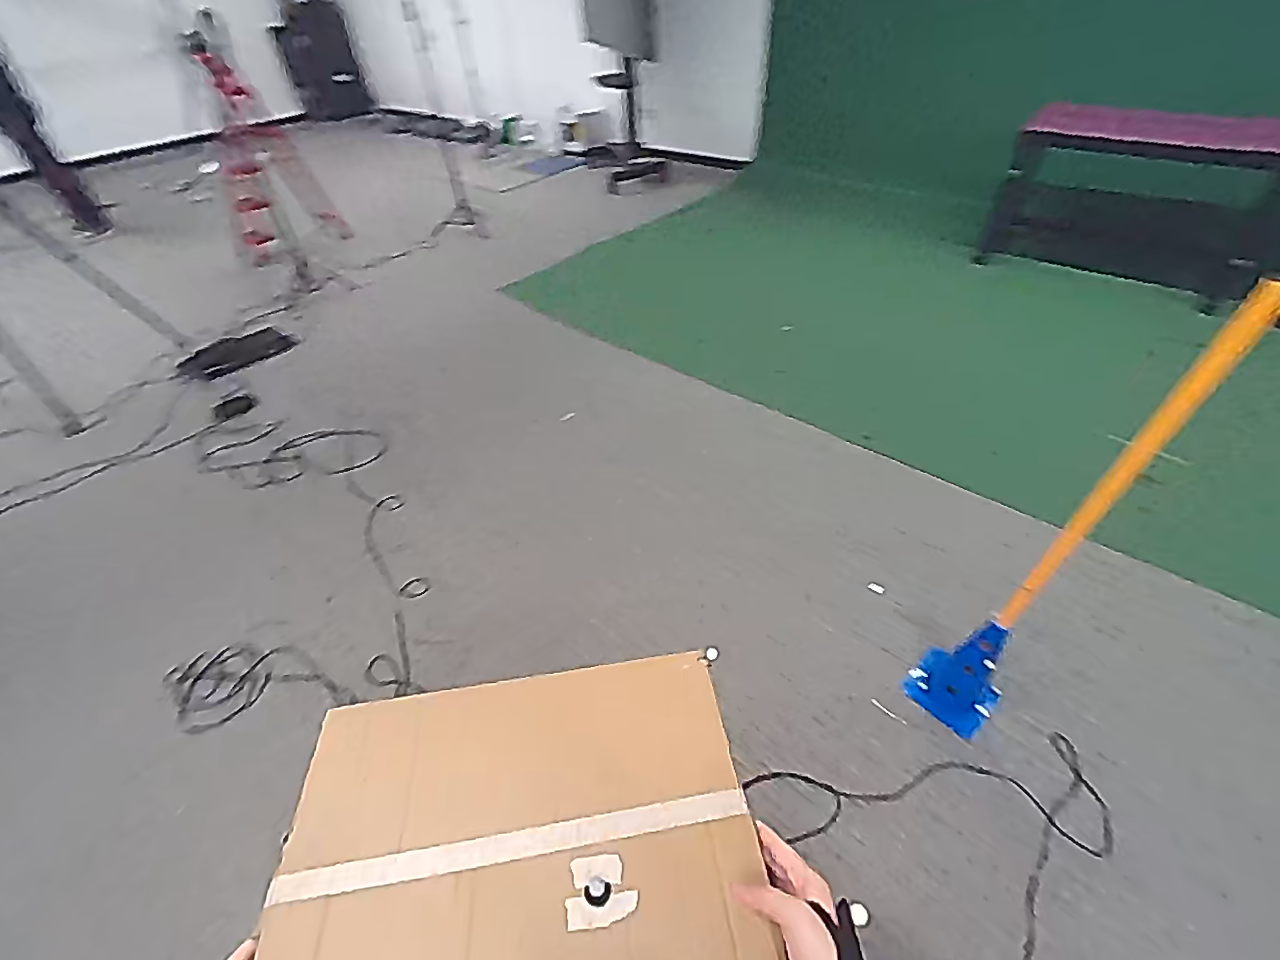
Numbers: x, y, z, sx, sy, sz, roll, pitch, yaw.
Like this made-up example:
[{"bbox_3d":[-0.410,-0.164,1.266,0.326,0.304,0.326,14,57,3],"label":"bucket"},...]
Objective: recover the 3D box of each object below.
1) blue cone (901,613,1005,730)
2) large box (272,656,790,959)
[{"bbox_3d":[0.853,0.471,1.412,0.192,0.380,0.193,-31,50,-27],"label":"blue cone"},{"bbox_3d":[-0.095,0.432,0.573,0.408,0.320,0.320,-6,42,-5],"label":"large box"}]
